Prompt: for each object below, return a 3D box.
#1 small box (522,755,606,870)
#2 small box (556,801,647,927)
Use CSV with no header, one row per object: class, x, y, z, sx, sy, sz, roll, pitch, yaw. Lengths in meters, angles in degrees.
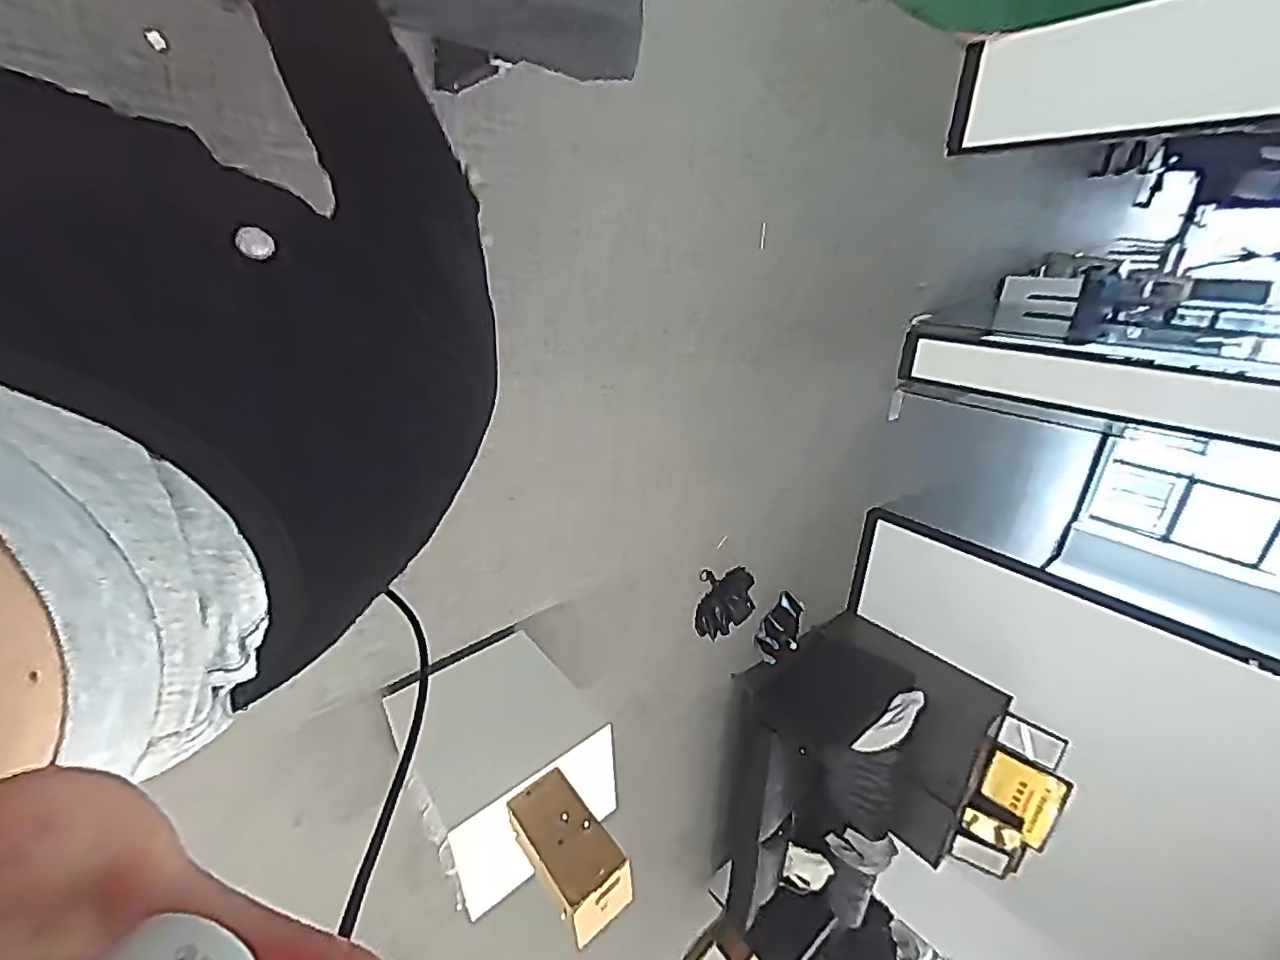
small box,-0.205,0.906,1.487,0.168,0.176,0.179,-26,126,-33
small box,-0.099,0.961,1.373,0.168,0.176,0.179,-24,126,-33
